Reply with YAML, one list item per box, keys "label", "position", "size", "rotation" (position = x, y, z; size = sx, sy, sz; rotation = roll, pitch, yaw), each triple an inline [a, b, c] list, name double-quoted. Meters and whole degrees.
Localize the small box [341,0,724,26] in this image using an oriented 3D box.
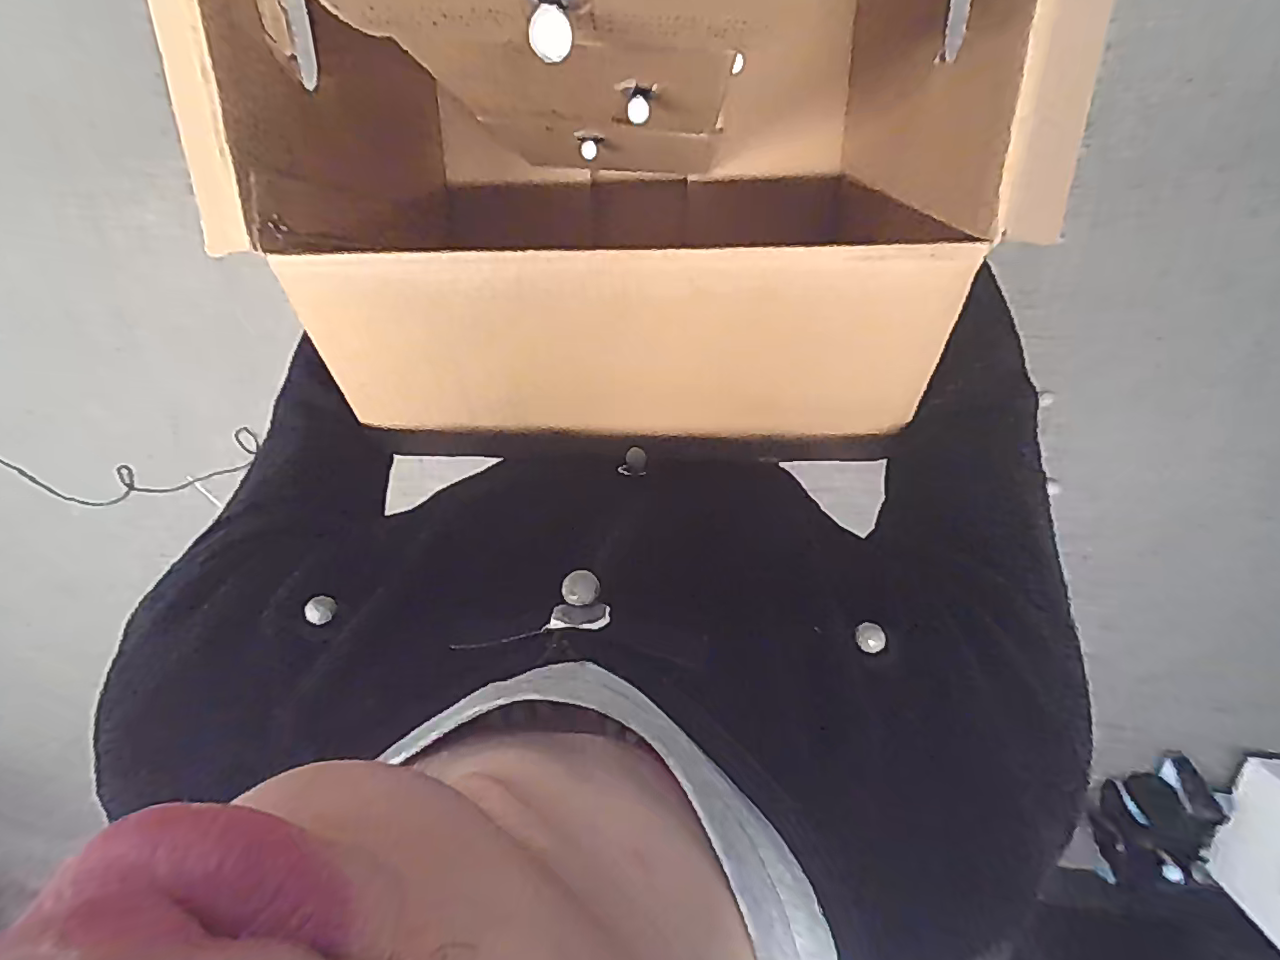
- label: "small box"
  position: [-0.036, -0.230, 0.112]
  size: [0.179, 0.176, 0.168]
  rotation: [3, 110, 0]
